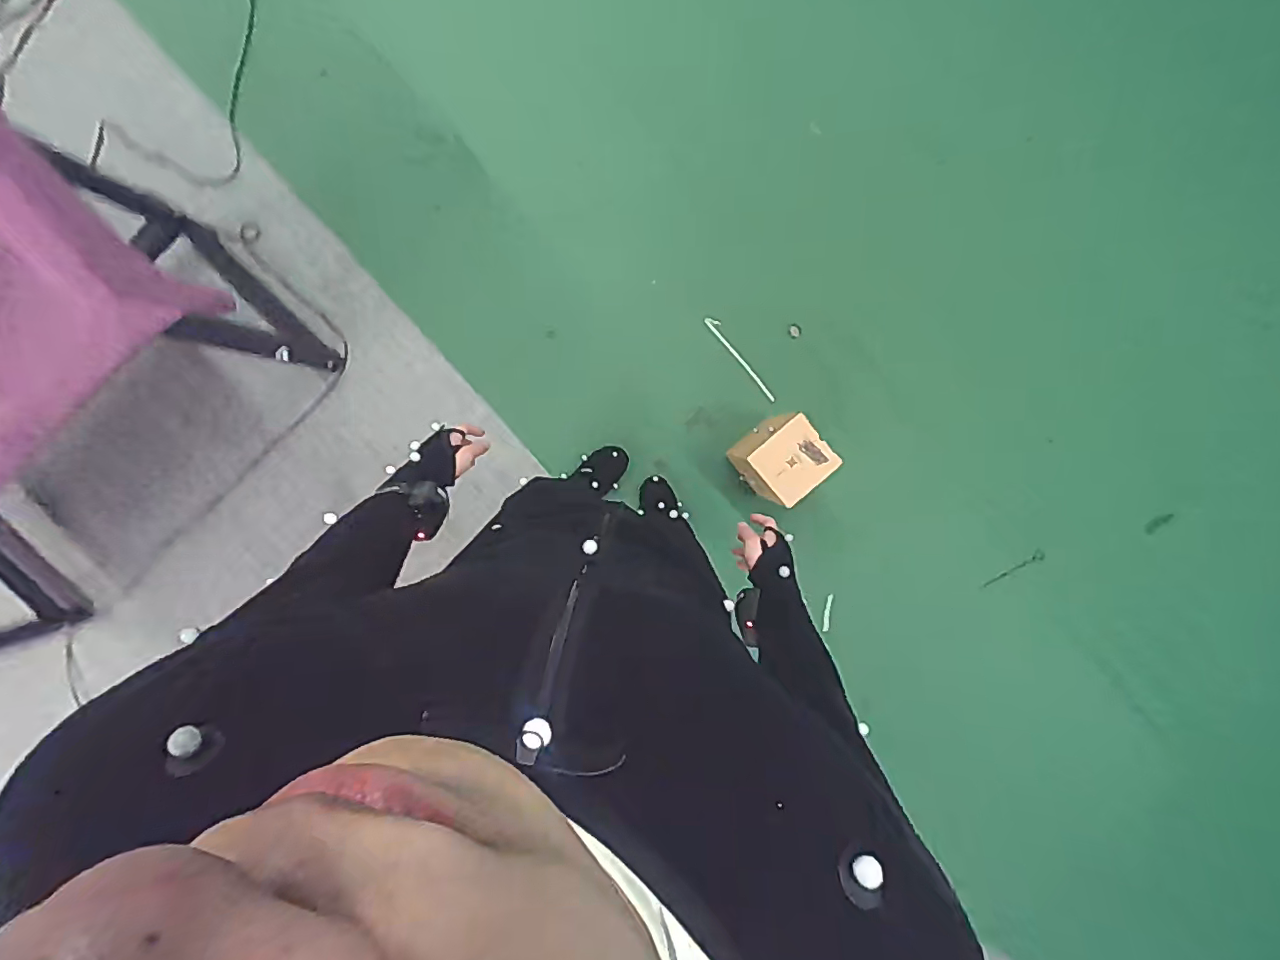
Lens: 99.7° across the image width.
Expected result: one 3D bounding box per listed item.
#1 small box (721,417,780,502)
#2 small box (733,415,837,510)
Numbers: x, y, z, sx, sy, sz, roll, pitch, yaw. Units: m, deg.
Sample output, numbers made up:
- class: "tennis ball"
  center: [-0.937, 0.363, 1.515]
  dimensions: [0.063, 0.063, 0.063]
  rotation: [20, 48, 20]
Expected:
- class: "small box"
  center: [0.356, -0.061, 1.548]
  dimensions: [0.179, 0.176, 0.168]
  rotation: [-40, 94, 2]
- class: "small box"
  center: [0.361, -0.049, 1.384]
  dimensions: [0.179, 0.176, 0.168]
  rotation: [-41, 94, 2]
